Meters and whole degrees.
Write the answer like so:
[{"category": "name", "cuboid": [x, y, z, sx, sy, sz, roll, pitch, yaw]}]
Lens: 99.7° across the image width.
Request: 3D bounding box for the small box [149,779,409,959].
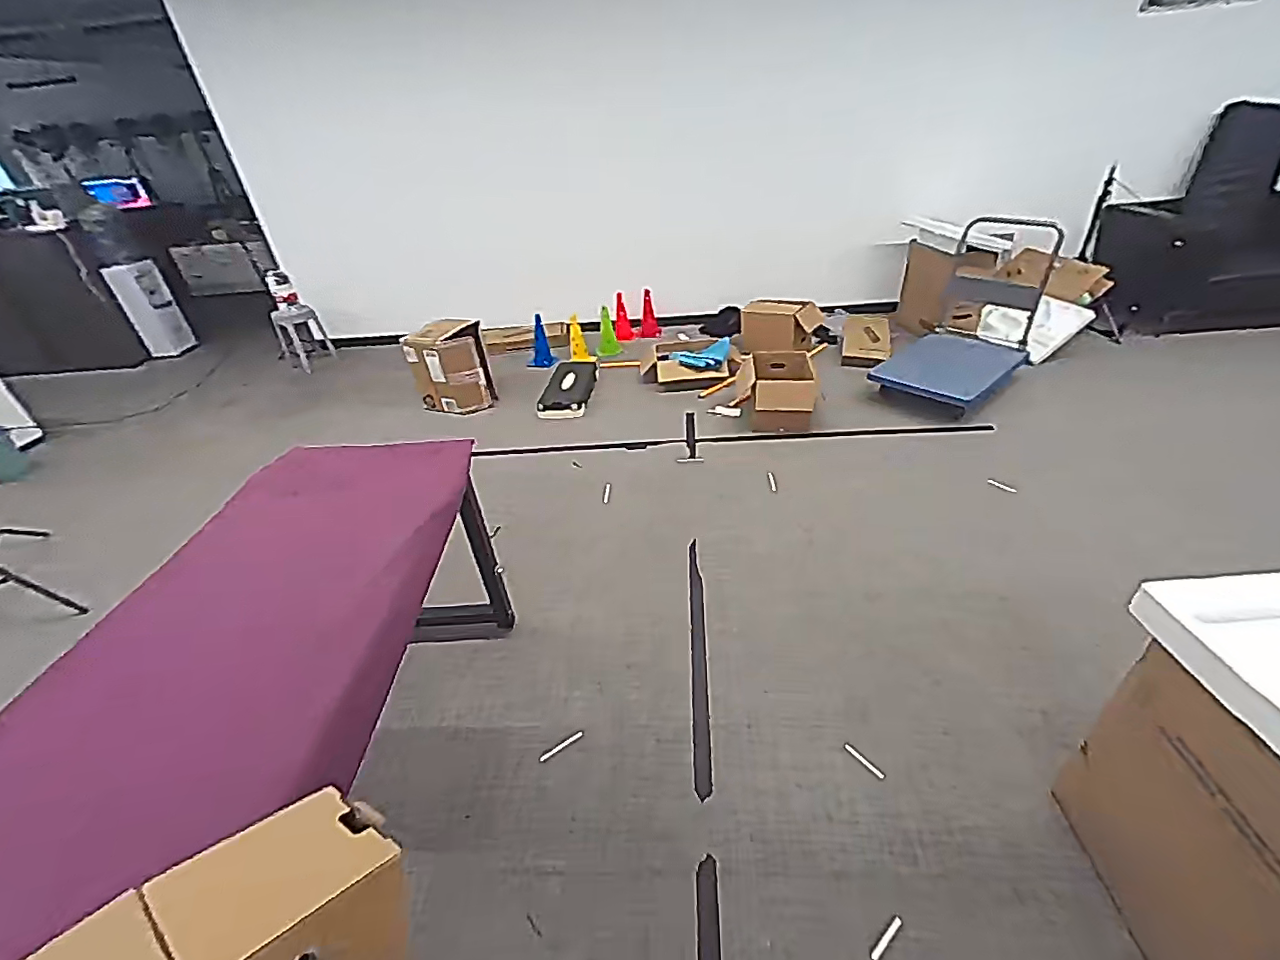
[{"category": "small box", "cuboid": [-0.351, 0.455, 0.543, 0.168, 0.176, 0.179, 7, 10, 37]}]
